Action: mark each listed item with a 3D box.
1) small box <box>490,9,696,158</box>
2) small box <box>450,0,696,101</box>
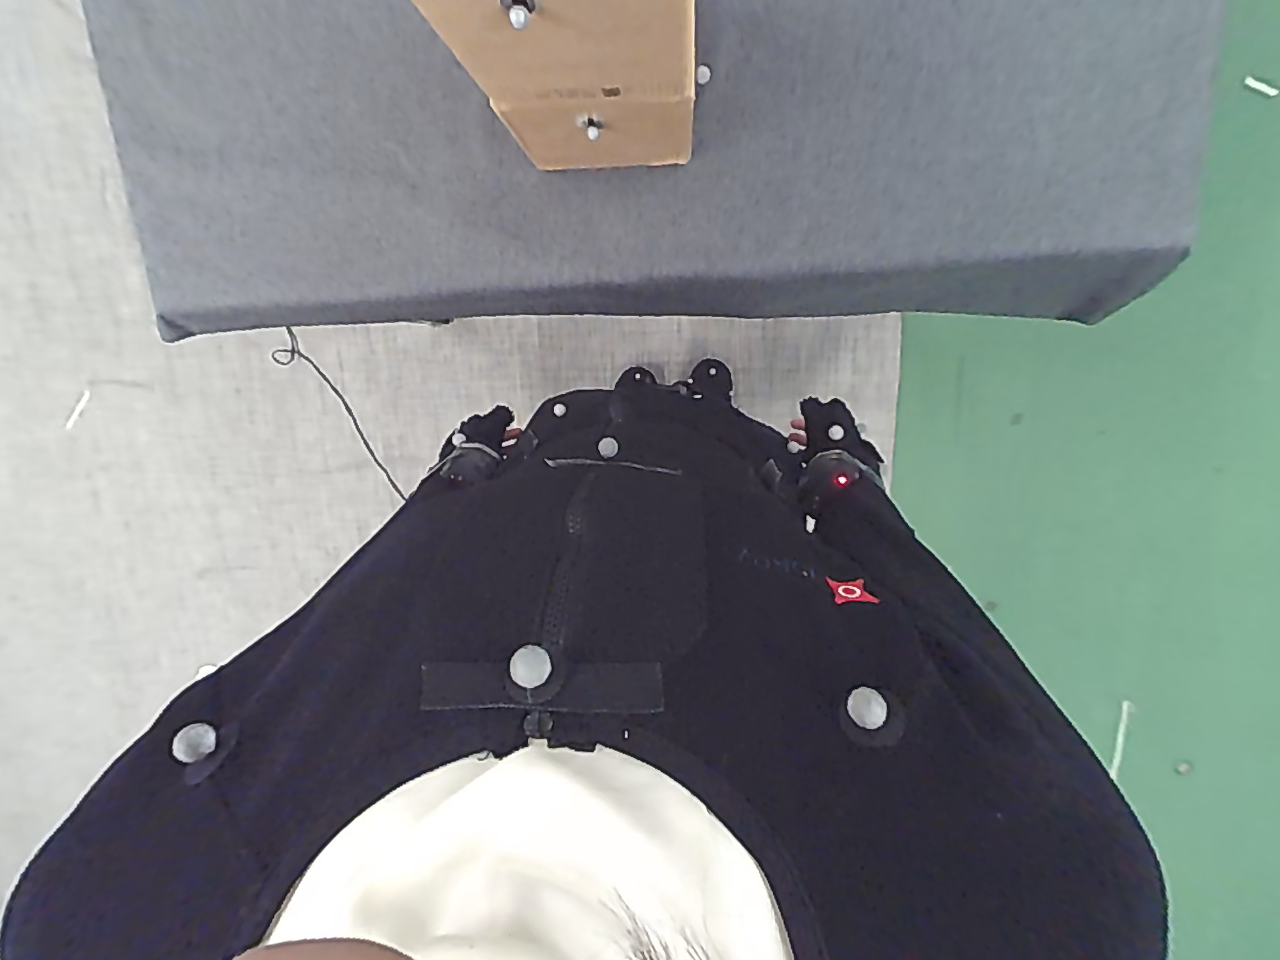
[{"bbox_3d":[-0.036,-0.427,0.517,0.179,0.176,0.168,0,104,4],"label":"small box"},{"bbox_3d":[-0.047,-0.392,0.360,0.168,0.176,0.179,-1,104,4],"label":"small box"}]
